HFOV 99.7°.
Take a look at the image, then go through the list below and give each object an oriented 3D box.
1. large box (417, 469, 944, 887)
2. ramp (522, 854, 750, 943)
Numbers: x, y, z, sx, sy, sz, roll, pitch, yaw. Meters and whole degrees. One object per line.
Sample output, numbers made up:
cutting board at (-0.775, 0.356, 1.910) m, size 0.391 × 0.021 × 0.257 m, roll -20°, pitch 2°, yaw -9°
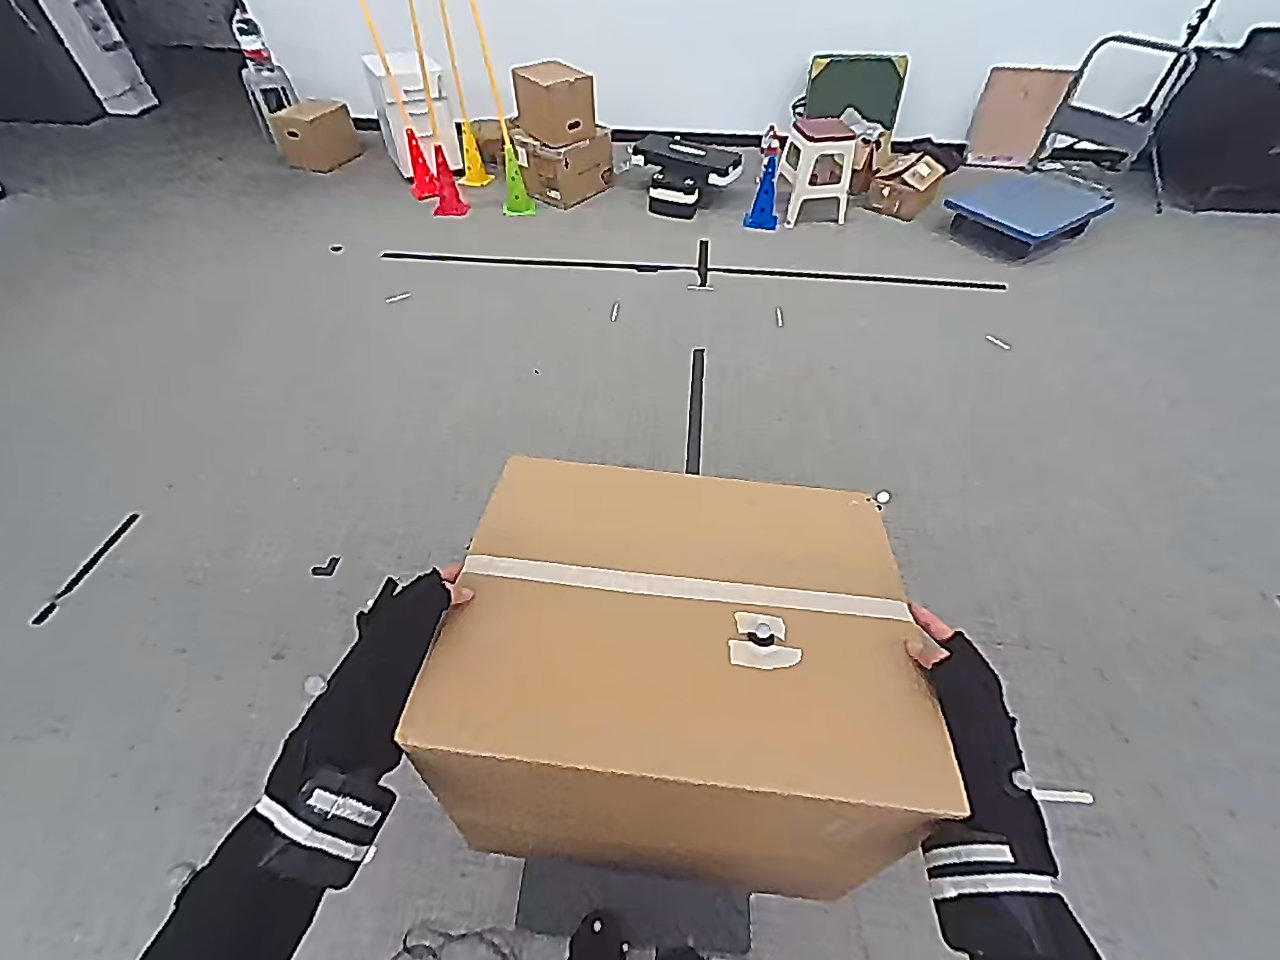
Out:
large box at (0.031, 0.217, 0.607) m, size 0.408 × 0.320 × 0.320 m, roll 6°, pitch 44°, yaw 2°
ramp at (0.030, 0.523, 1.385) m, size 0.509 × 0.206 × 0.991 m, roll 3°, pitch 50°, yaw 1°
